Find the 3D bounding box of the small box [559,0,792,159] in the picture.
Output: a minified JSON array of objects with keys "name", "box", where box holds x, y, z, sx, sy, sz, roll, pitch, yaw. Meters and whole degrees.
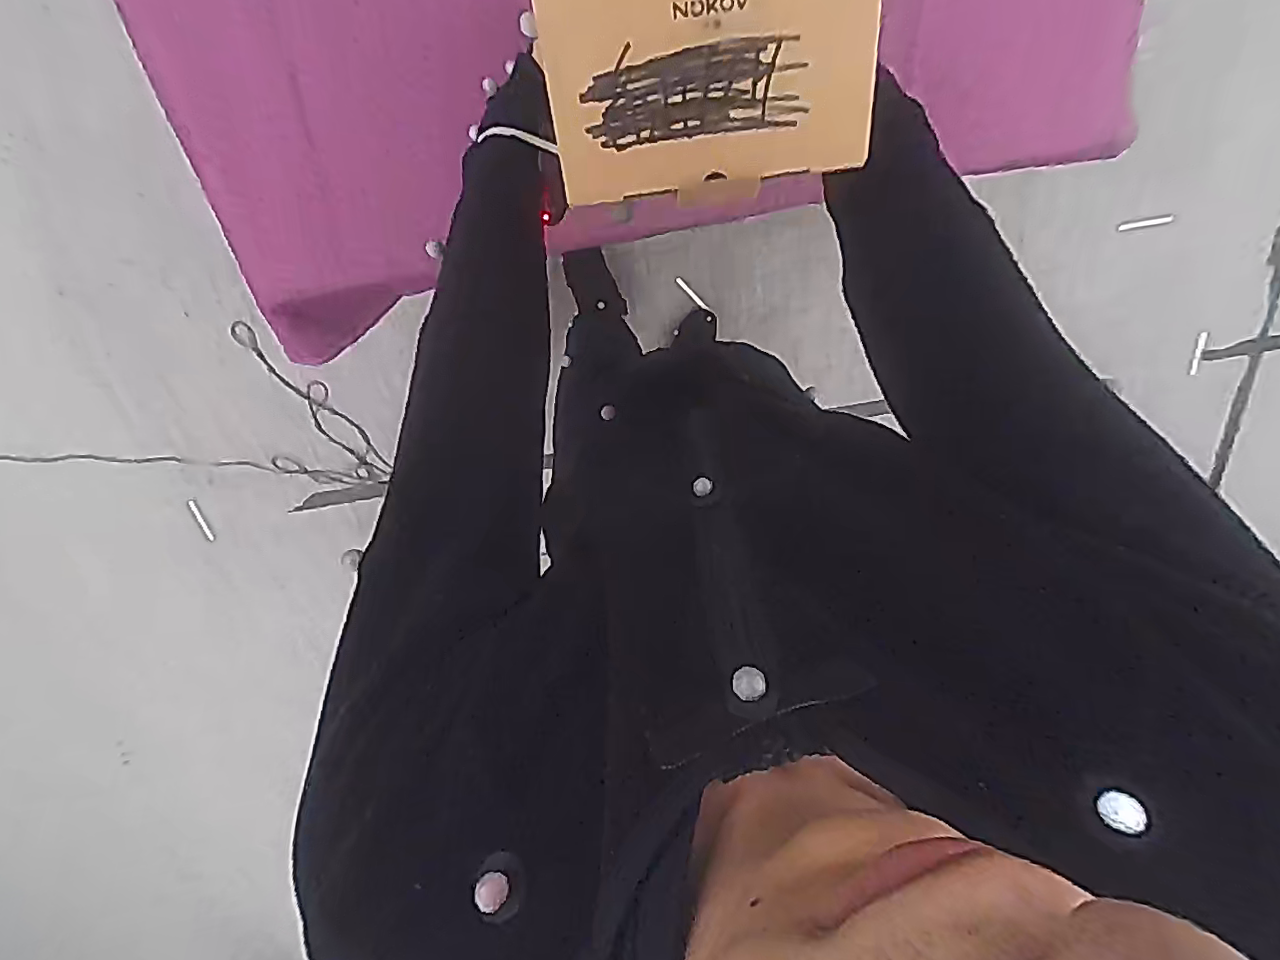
[{"name":"small box","box":[0.021,-0.376,0.443,0.168,0.176,0.179,-8,123,2]}]
